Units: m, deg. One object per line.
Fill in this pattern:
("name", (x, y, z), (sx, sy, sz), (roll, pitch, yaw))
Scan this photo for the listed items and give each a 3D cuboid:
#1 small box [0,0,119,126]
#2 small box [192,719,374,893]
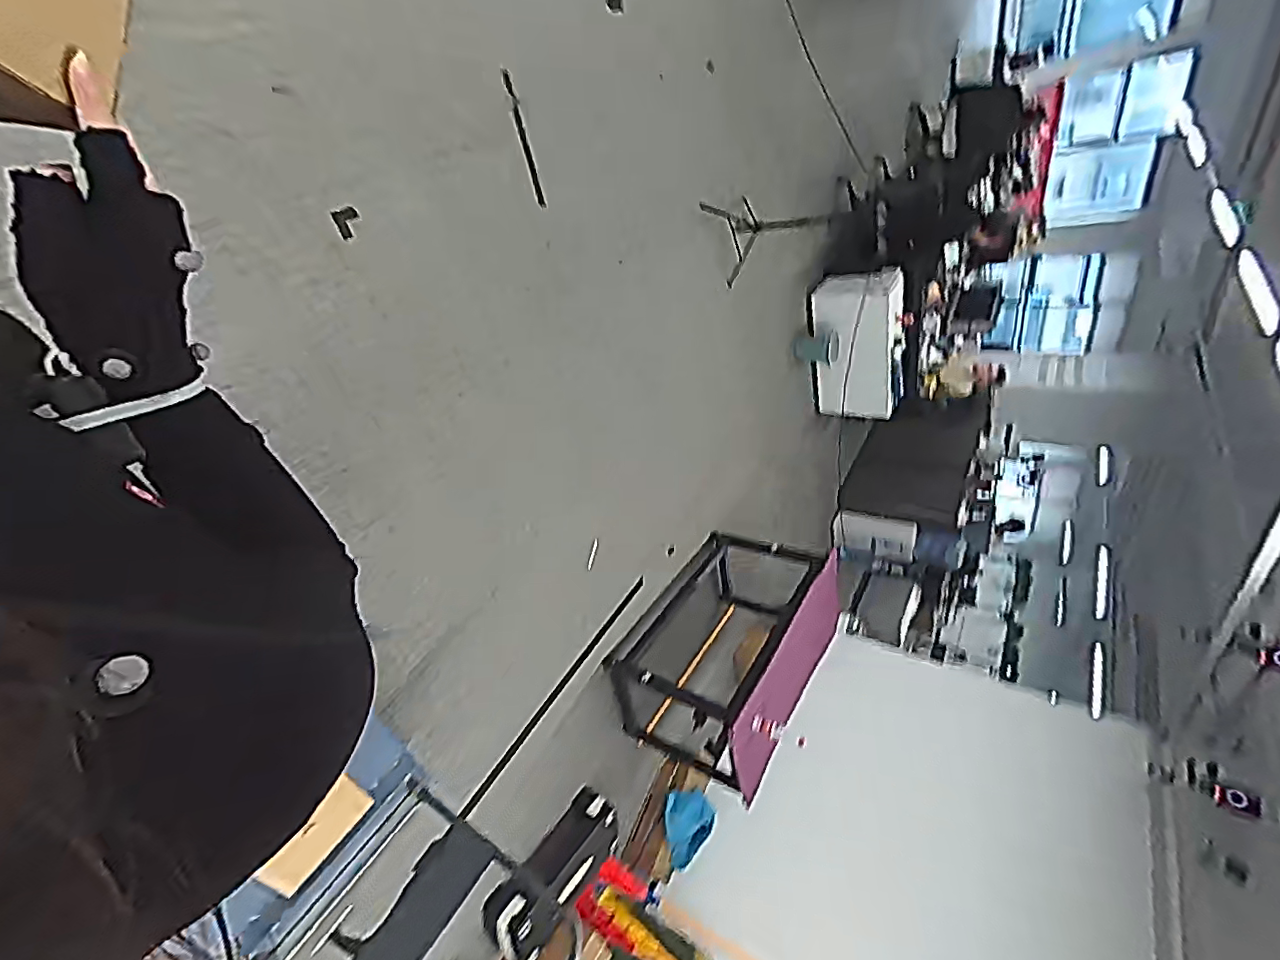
("small box", (-0.378, -0.292, 0.228), (0.168, 0.179, 0.176), (-55, 154, -88))
("small box", (-0.607, 0.546, 0.926), (0.168, 0.176, 0.179), (-47, 134, -37))
